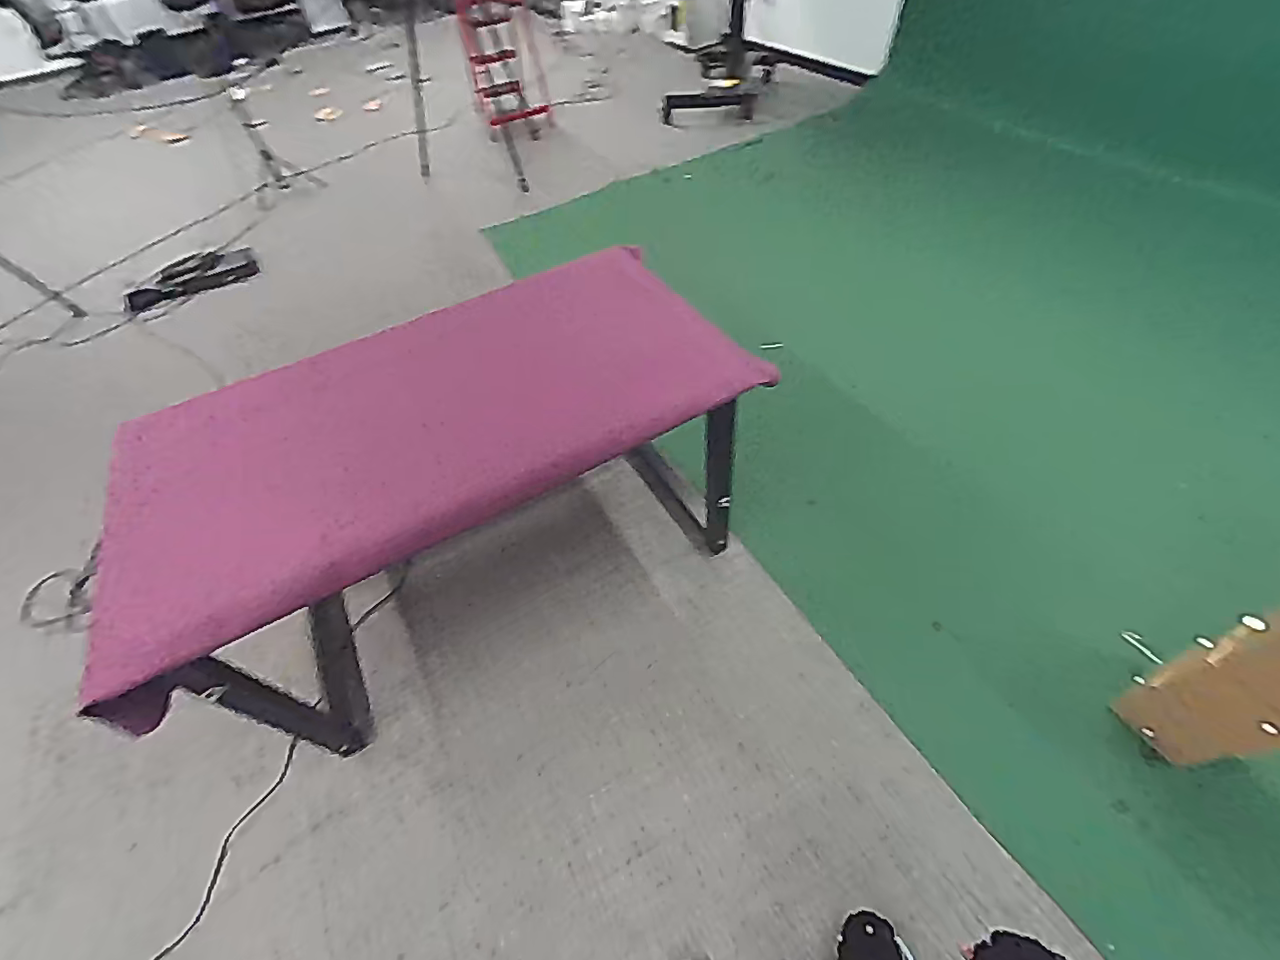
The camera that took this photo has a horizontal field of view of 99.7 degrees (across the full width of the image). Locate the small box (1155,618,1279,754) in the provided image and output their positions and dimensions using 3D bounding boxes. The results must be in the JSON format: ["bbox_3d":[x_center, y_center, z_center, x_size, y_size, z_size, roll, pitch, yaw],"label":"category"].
[{"bbox_3d":[1.221,0.418,1.093,0.168,0.176,0.179,-28,55,-14],"label":"small box"}]

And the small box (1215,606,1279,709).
[{"bbox_3d":[1.218,0.319,0.962,0.168,0.176,0.179,-29,54,-15],"label":"small box"}]
